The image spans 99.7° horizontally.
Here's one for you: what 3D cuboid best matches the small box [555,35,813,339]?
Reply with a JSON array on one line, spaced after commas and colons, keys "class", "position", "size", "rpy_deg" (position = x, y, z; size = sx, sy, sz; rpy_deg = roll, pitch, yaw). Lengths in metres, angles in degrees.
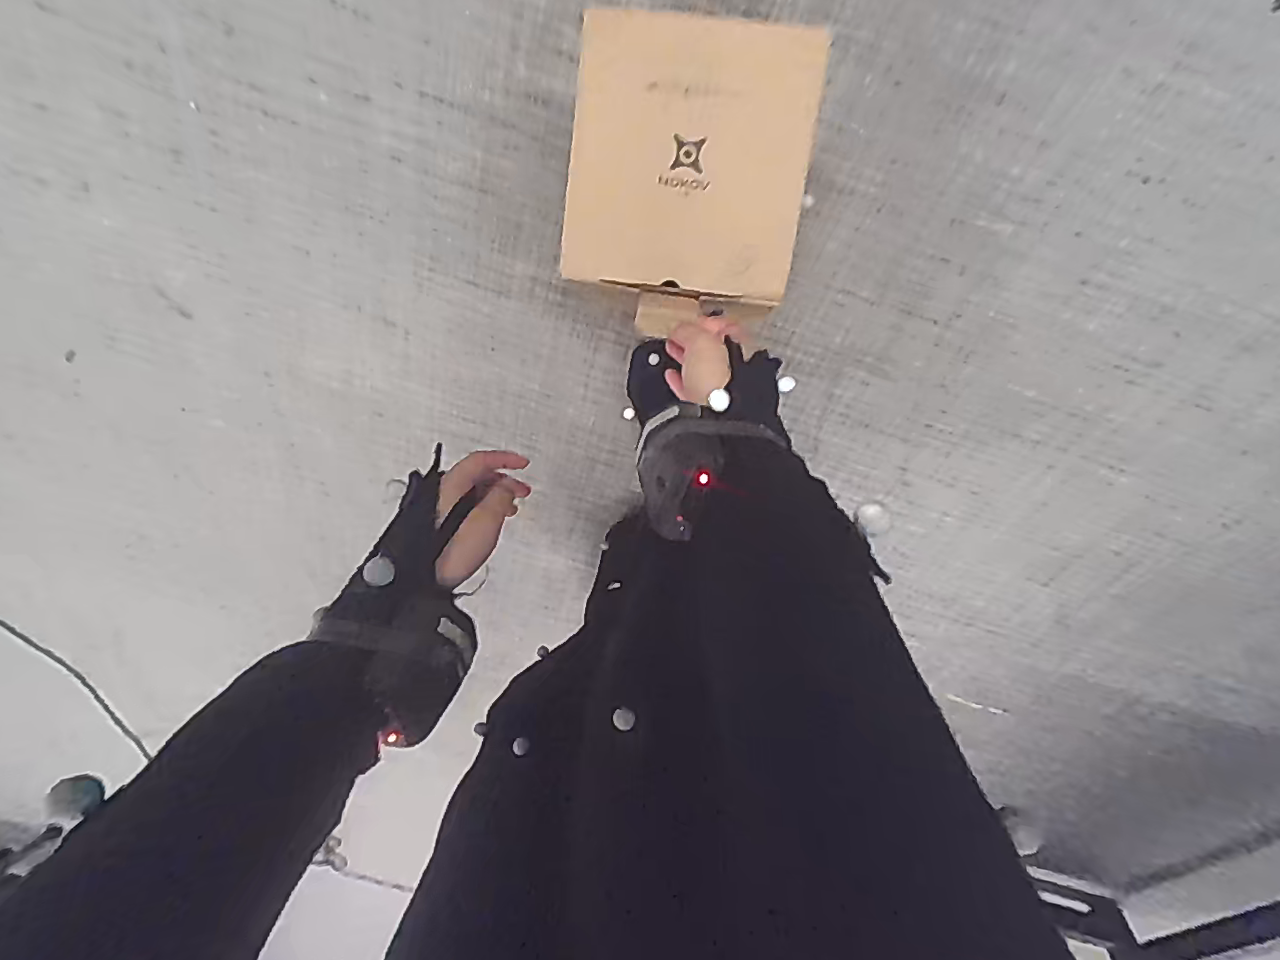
[{"class": "small box", "position": [0.035, -0.225, 0.462], "size": [0.168, 0.176, 0.179], "rpy_deg": [8, 96, 4]}]
